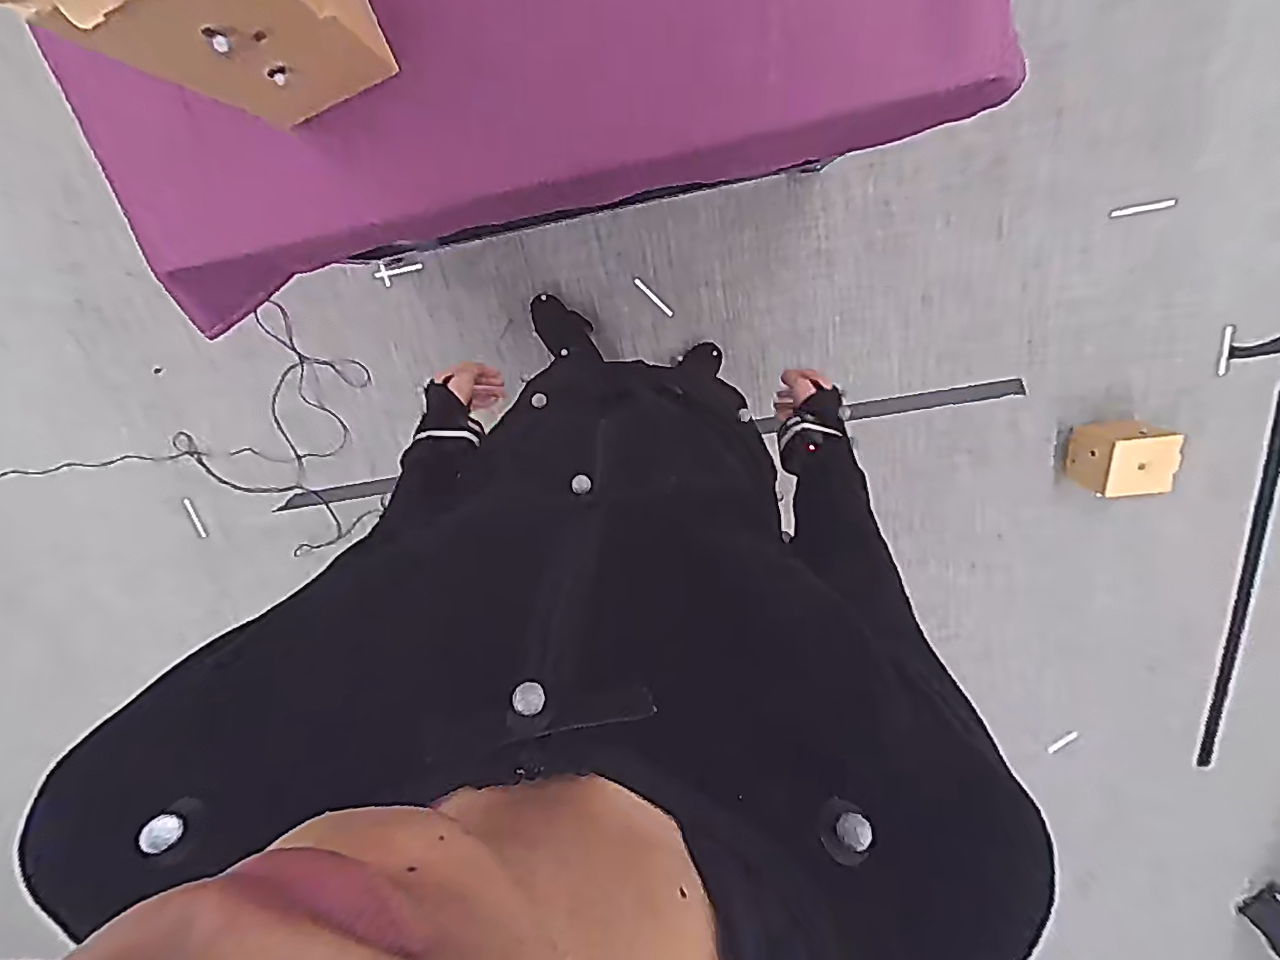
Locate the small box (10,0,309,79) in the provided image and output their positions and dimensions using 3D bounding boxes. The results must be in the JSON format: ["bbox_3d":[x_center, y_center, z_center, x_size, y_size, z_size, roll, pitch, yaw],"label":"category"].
[{"bbox_3d":[-0.435,-0.491,0.456,0.168,0.176,0.179,-21,109,9],"label":"small box"}]

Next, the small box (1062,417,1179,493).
[{"bbox_3d":[1.353,-0.076,1.539,0.179,0.176,0.168,-6,111,3],"label":"small box"}]

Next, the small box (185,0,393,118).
[{"bbox_3d":[-0.423,-0.547,0.611,0.179,0.176,0.168,-20,110,8],"label":"small box"}]
